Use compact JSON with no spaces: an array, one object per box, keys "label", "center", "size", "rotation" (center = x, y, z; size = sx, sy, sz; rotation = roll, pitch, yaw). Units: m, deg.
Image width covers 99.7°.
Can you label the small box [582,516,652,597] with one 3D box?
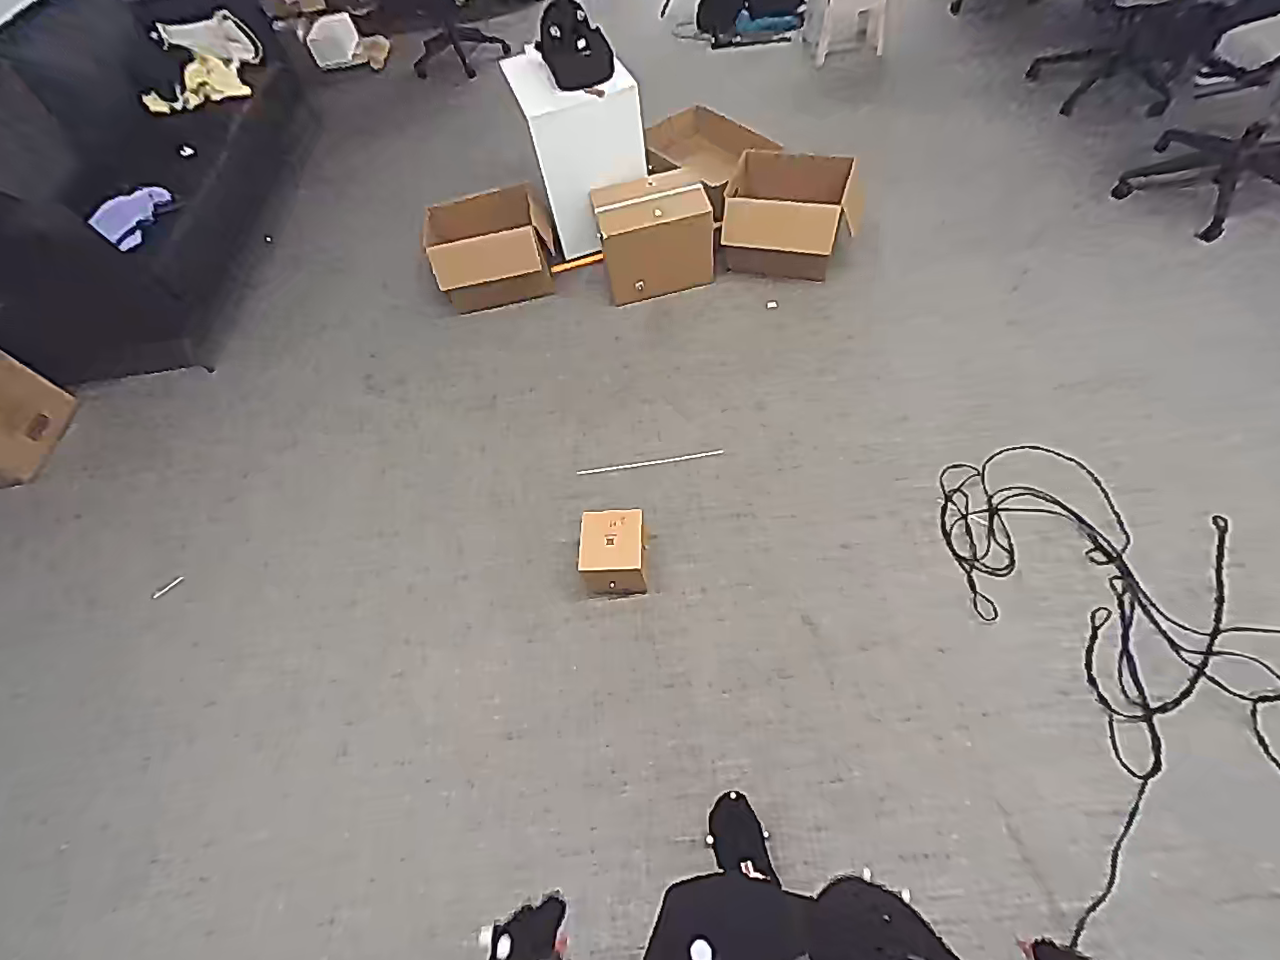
[{"label":"small box","center":[-0.056,0.216,1.485],"size":[0.168,0.176,0.179],"rotation":[-3,58,7]}]
